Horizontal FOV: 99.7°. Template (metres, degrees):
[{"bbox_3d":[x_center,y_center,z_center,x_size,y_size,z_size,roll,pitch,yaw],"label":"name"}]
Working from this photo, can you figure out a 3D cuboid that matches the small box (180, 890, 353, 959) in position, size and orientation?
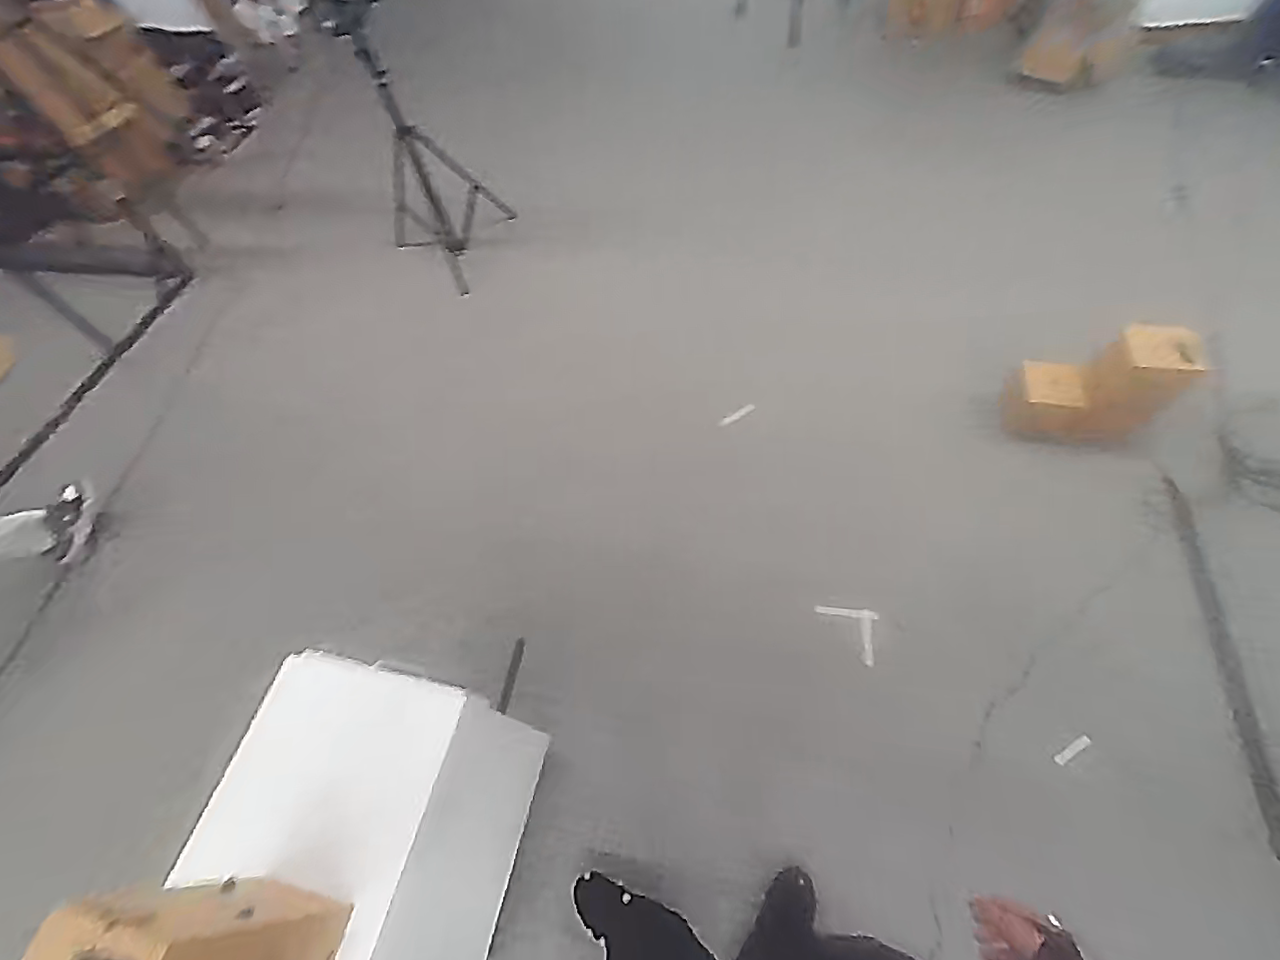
[{"bbox_3d":[-0.546,0.688,0.745,0.179,0.176,0.168,5,60,13],"label":"small box"}]

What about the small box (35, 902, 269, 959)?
[{"bbox_3d":[-0.567,0.605,0.604,0.168,0.176,0.179,5,60,14],"label":"small box"}]
